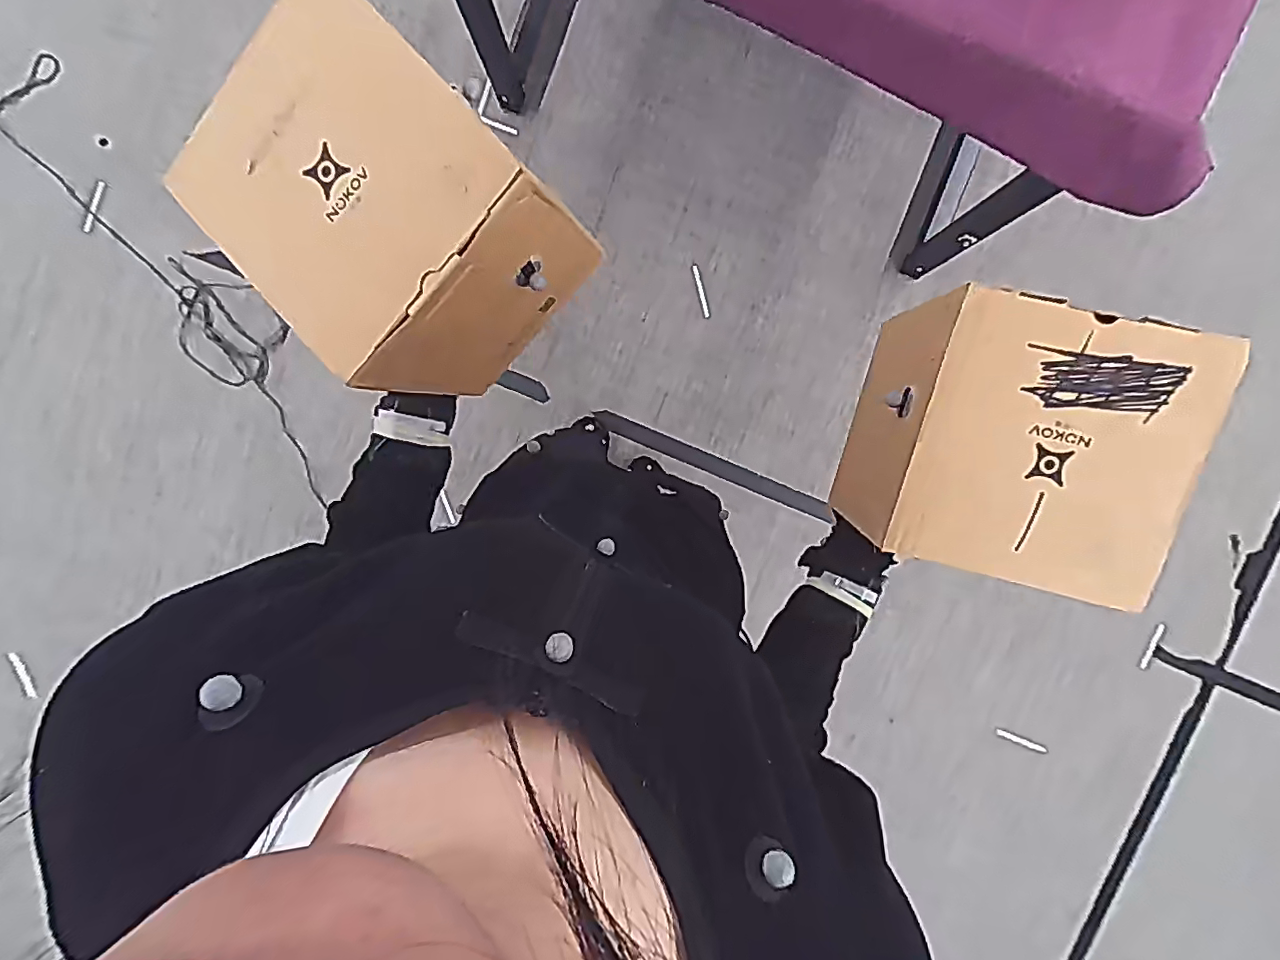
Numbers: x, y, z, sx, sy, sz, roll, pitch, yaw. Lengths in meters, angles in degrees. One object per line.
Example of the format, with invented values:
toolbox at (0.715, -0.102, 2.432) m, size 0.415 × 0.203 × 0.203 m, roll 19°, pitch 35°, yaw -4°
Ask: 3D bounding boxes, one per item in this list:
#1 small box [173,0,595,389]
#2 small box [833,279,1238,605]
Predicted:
small box at (-0.158, -0.182, 0.390) m, size 0.168 × 0.176 × 0.179 m, roll -44°, pitch 86°, yaw 12°
small box at (0.266, -0.033, 0.419) m, size 0.168 × 0.176 × 0.179 m, roll 14°, pitch 100°, yaw 5°
